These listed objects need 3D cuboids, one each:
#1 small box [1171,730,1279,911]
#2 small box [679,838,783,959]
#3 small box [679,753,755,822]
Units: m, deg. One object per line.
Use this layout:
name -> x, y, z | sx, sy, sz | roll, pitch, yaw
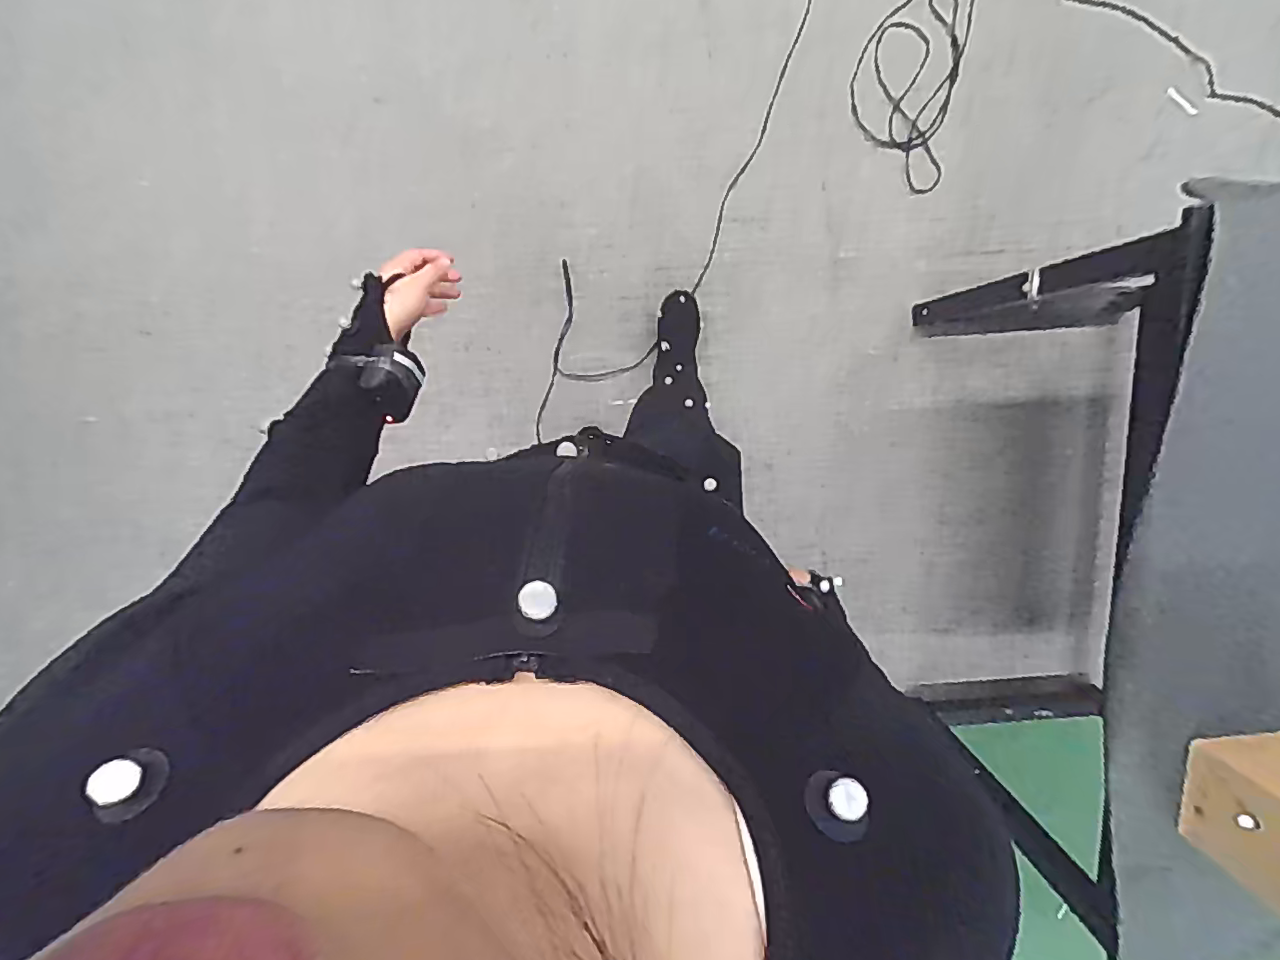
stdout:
small box -> 0.913, 0.478, 0.760 | 0.179, 0.176, 0.168 | -4, 100, -2
small box -> 0.198, 0.974, 1.235 | 0.179, 0.176, 0.168 | -26, 98, 2
small box -> 0.213, 0.923, 1.558 | 0.168, 0.176, 0.179 | 13, 99, -3
